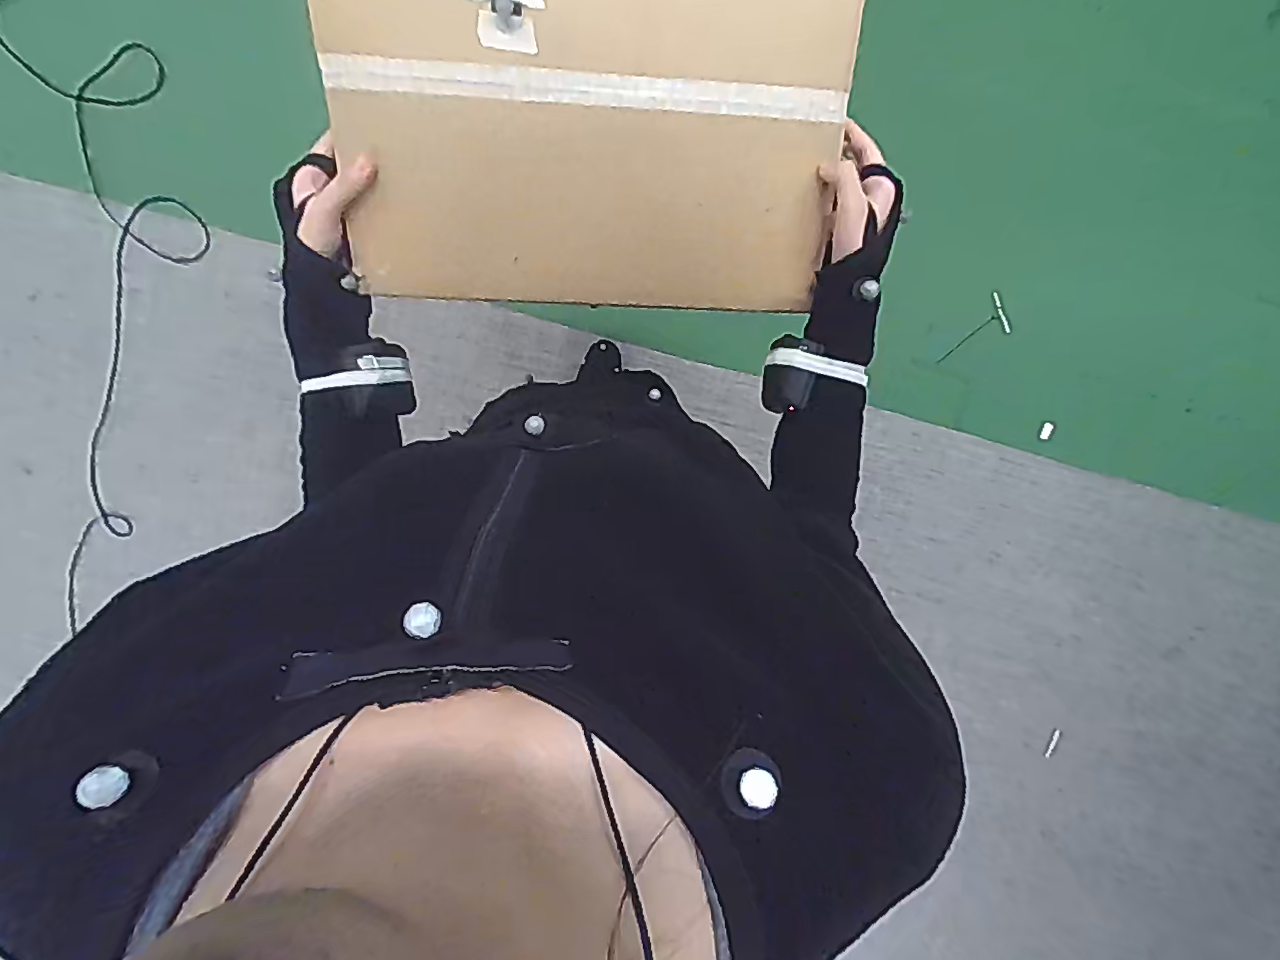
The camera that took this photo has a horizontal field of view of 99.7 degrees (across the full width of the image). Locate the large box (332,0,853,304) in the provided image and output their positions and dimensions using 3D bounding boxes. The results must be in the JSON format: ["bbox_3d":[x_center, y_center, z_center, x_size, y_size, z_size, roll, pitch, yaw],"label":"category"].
[{"bbox_3d":[-0.042,-0.369,0.570,0.408,0.320,0.320,1,113,-5],"label":"large box"}]
